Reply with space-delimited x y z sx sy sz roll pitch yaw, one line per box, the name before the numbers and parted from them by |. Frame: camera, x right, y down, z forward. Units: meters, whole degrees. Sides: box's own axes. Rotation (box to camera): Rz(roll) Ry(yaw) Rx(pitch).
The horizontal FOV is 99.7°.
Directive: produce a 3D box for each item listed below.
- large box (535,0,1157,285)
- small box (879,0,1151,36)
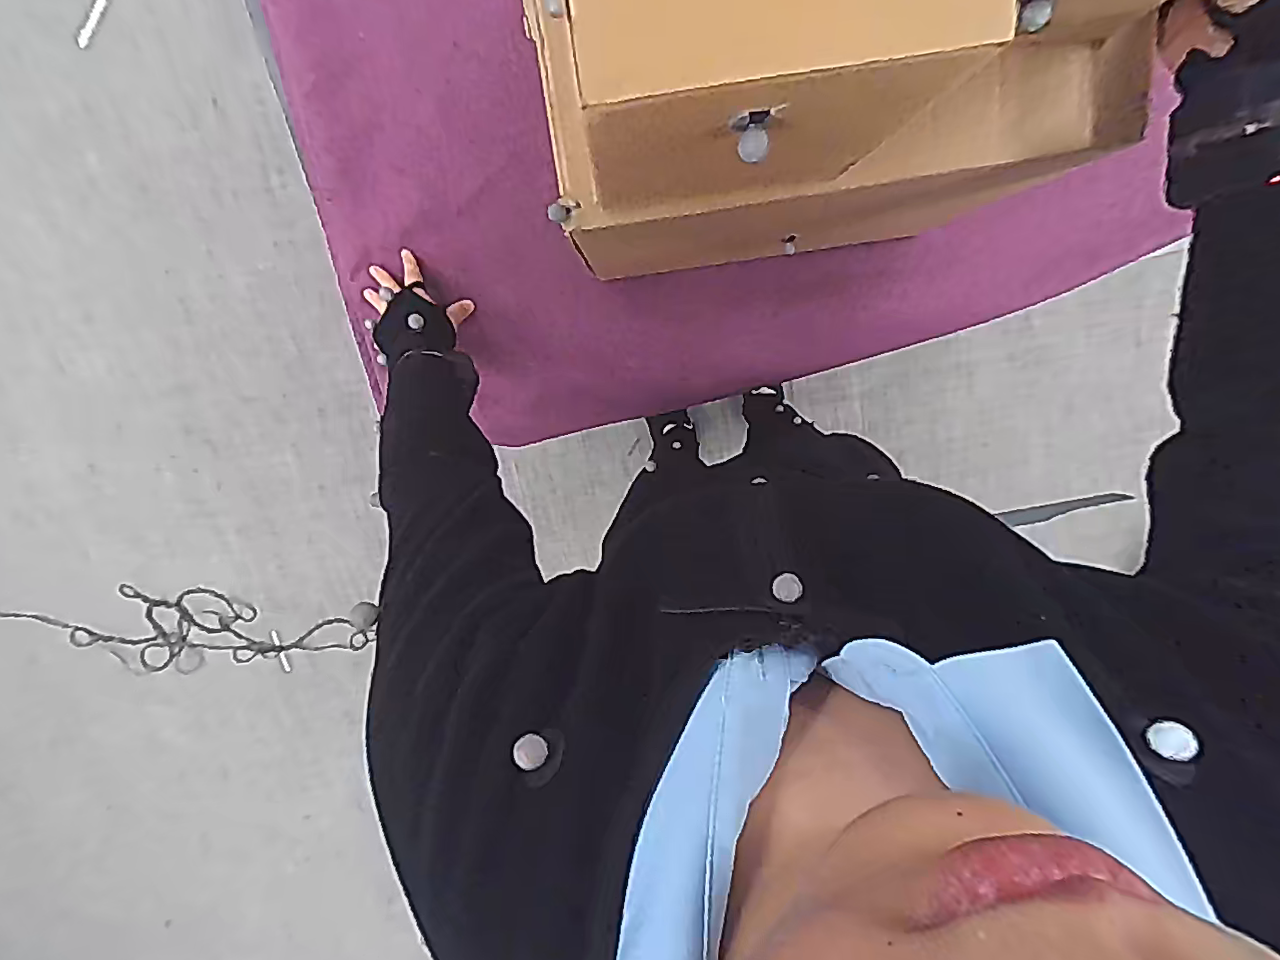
large box | 0.130 -0.384 0.487 0.408 0.320 0.320 -9 102 3
small box | 0.222 -0.348 0.243 0.168 0.176 0.179 -2 104 1
